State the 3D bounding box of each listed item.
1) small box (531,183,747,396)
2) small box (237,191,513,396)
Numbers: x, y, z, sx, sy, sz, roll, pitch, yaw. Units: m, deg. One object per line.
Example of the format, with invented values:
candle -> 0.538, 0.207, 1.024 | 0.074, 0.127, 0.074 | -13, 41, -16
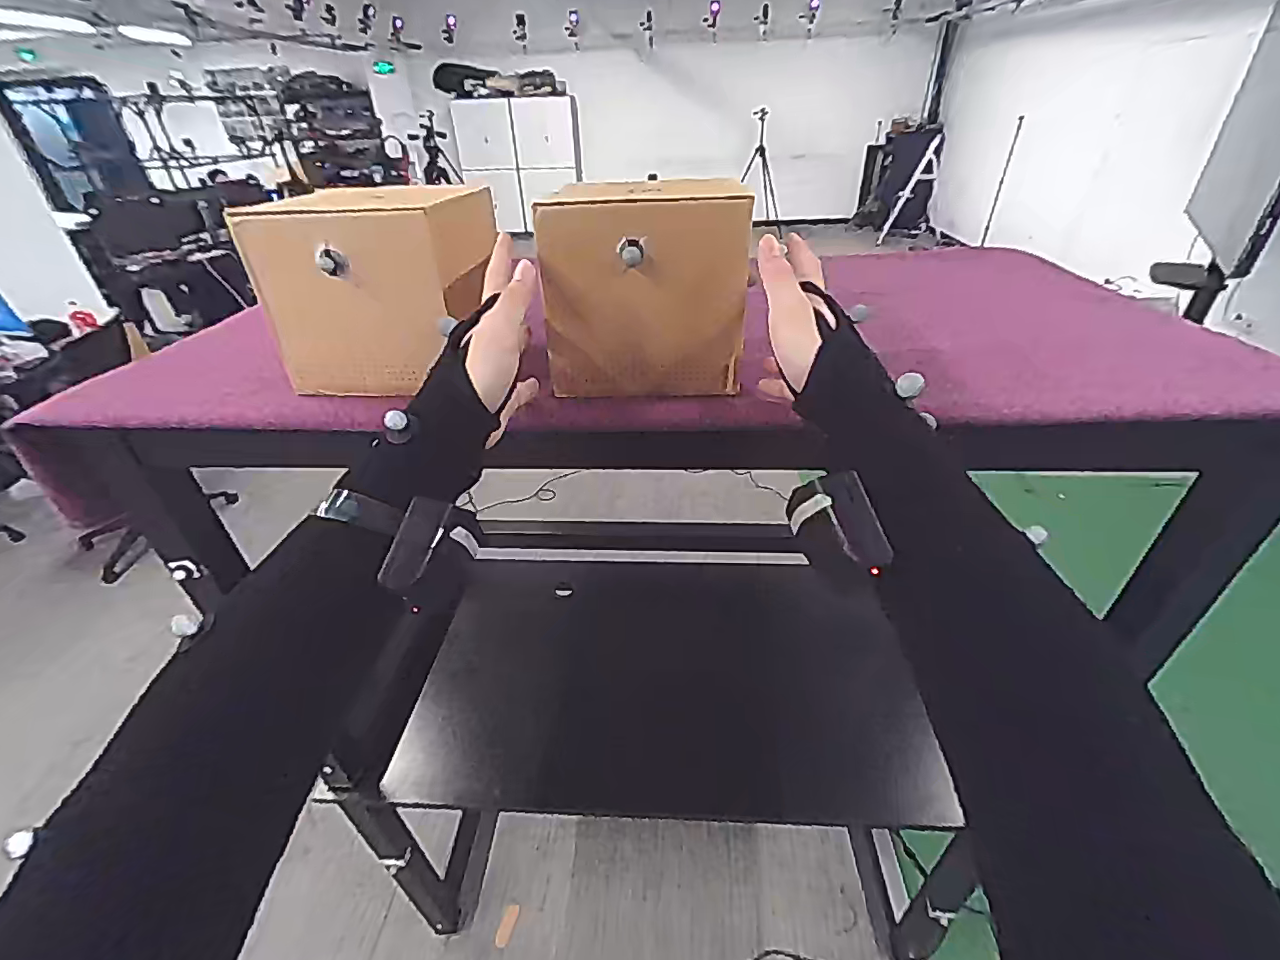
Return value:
small box -> 0.005, -0.192, 0.540 | 0.179, 0.176, 0.168 | -1, 33, 4
small box -> -0.247, -0.194, 0.557 | 0.179, 0.176, 0.168 | 2, 34, 5
